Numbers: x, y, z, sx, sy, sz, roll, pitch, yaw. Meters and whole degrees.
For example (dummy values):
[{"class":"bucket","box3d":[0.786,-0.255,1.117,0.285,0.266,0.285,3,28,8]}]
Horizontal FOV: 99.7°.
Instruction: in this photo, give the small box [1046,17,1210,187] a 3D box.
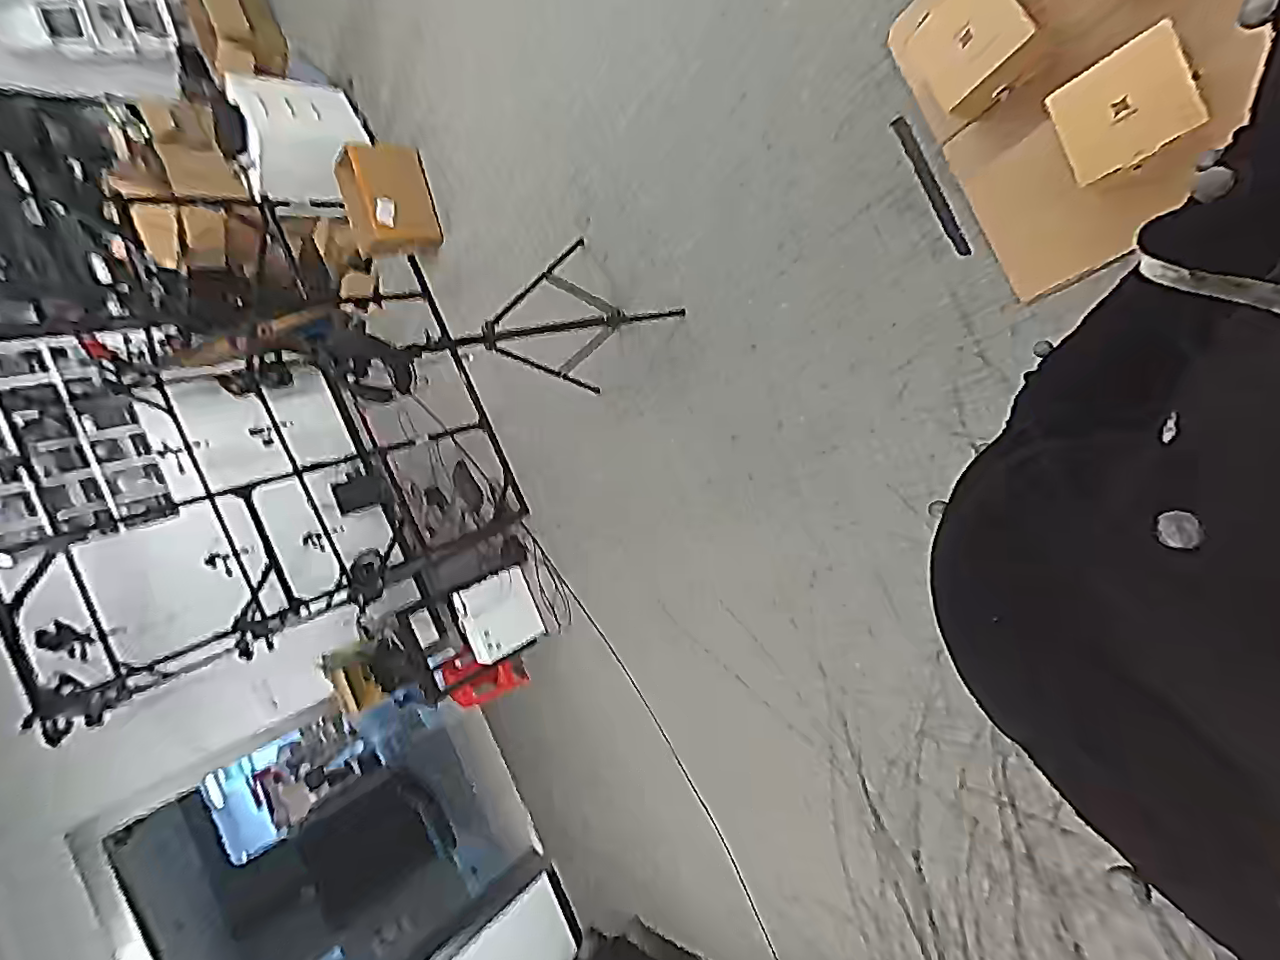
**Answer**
[{"class":"small box","box3d":[0.845,-0.636,0.939,0.168,0.176,0.179,-22,92,50]}]

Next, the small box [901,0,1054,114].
[{"class":"small box","box3d":[0.654,-0.848,1.048,0.168,0.176,0.179,-37,80,51]}]
